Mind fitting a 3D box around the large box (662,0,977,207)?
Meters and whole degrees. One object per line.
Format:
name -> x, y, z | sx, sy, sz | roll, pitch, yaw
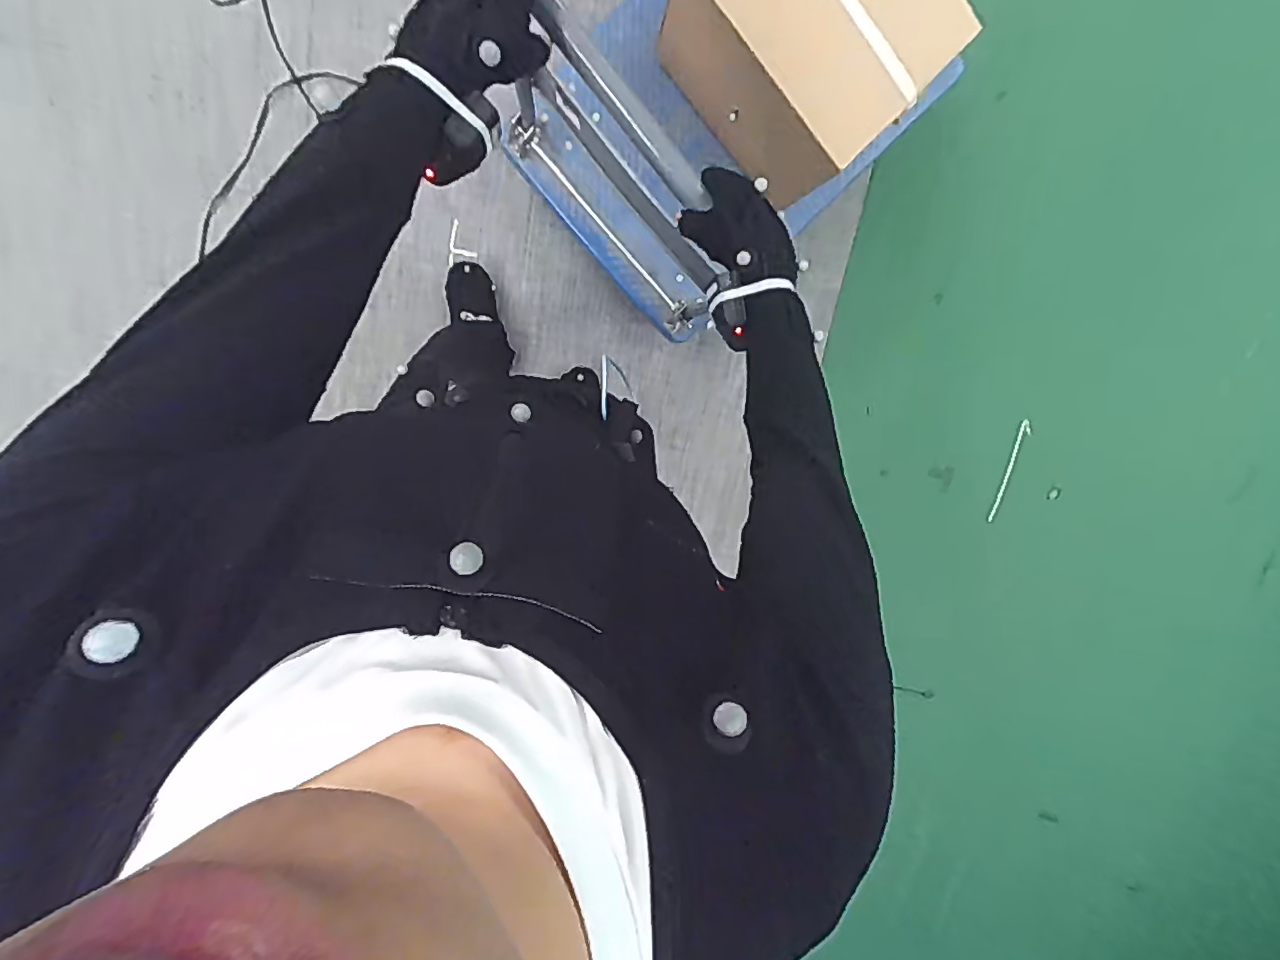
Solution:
large box -> 0.298, -0.802, 0.998 | 0.320, 0.320, 0.408 | -44, 104, 5
